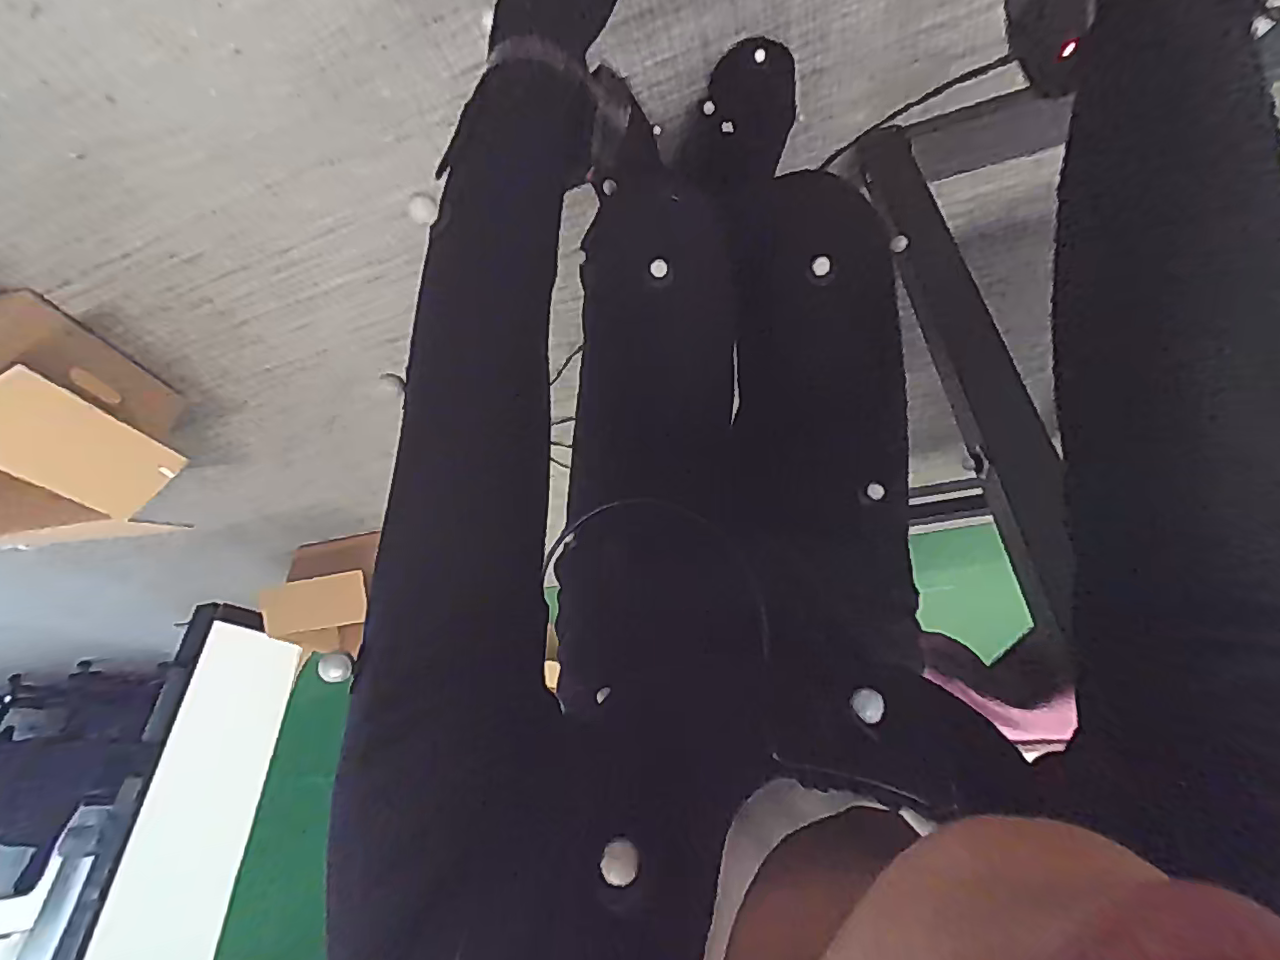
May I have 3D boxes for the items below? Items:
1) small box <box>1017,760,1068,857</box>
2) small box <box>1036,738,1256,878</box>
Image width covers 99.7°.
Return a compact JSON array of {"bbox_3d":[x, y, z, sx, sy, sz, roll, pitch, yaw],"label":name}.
[{"bbox_3d":[0.900,0.655,1.090,0.179,0.176,0.168,-10,148,15],"label":"small box"},{"bbox_3d":[0.759,0.507,0.842,0.179,0.176,0.168,-12,147,17],"label":"small box"}]
